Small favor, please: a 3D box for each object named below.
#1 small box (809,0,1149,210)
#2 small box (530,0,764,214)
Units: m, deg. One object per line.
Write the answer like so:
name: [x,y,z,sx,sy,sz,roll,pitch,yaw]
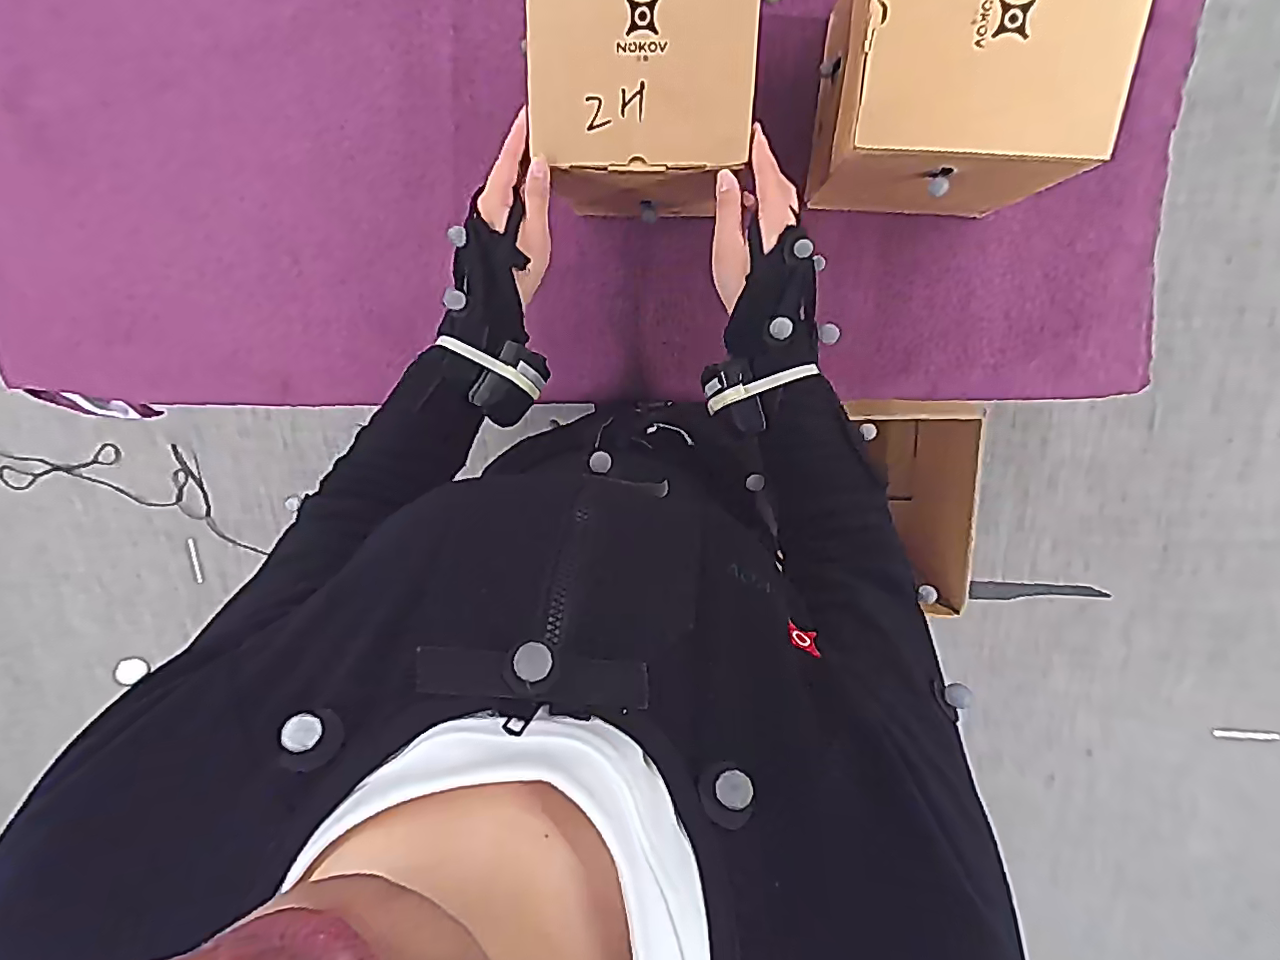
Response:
small box: [0.251,-0.327,0.436,0.179,0.176,0.168,6,104,5]
small box: [0.011,-0.339,0.455,0.168,0.176,0.179,4,105,6]
